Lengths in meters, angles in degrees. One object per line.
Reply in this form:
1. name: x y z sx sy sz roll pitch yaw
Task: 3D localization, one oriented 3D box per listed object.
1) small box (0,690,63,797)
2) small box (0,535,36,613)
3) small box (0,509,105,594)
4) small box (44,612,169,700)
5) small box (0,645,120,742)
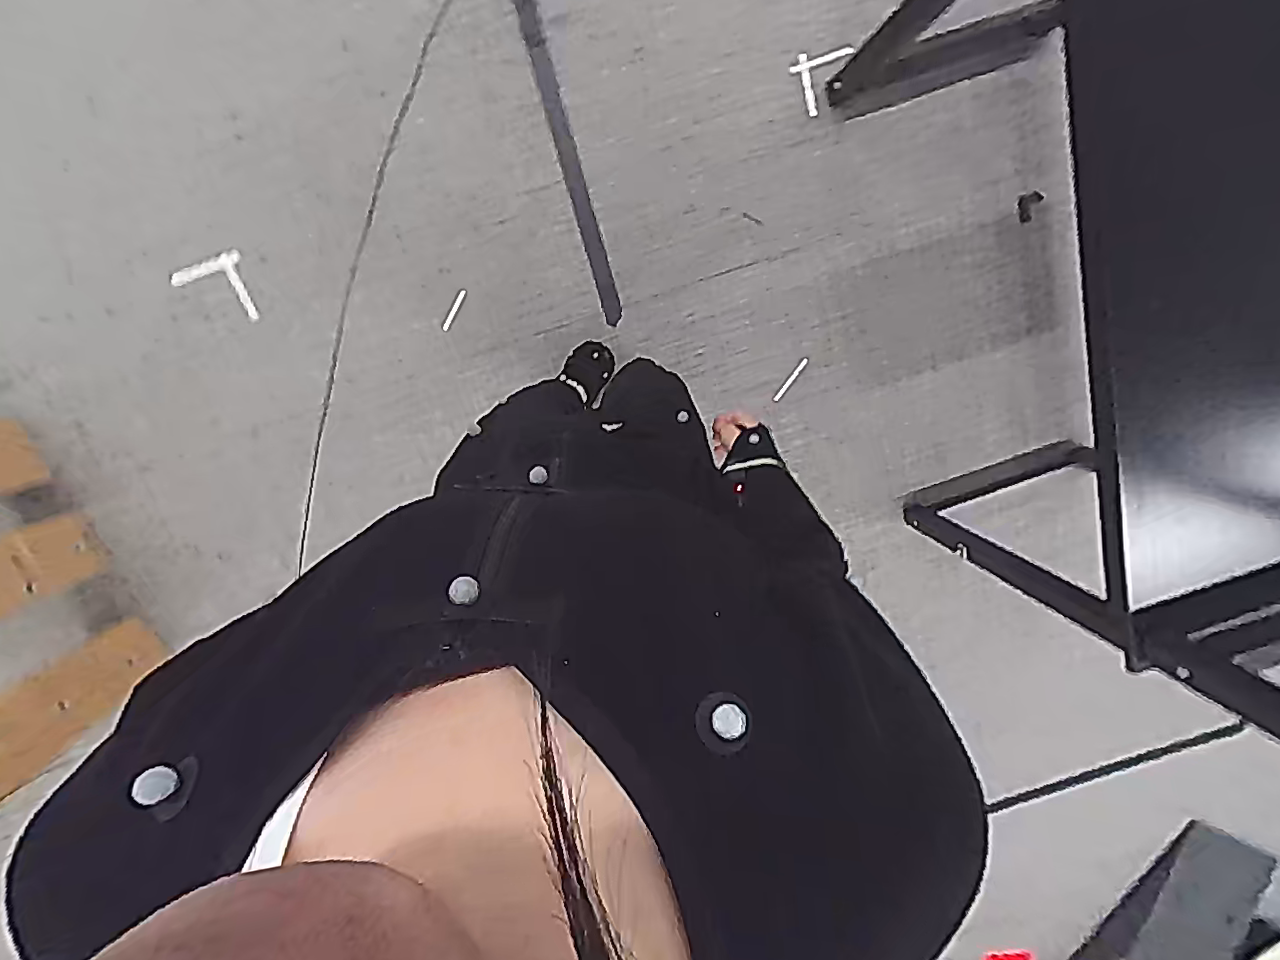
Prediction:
1. small box: -1.408 0.585 1.140 0.168 0.176 0.179 -24 106 1
2. small box: -1.527 0.240 1.201 0.179 0.176 0.168 -18 106 1
3. small box: -1.532 0.191 1.358 0.179 0.176 0.168 -15 107 -1
4. small box: -1.439 0.491 1.451 0.168 0.176 0.179 -26 107 2
5. small box: -1.426 0.532 1.293 0.168 0.176 0.179 -25 105 1
